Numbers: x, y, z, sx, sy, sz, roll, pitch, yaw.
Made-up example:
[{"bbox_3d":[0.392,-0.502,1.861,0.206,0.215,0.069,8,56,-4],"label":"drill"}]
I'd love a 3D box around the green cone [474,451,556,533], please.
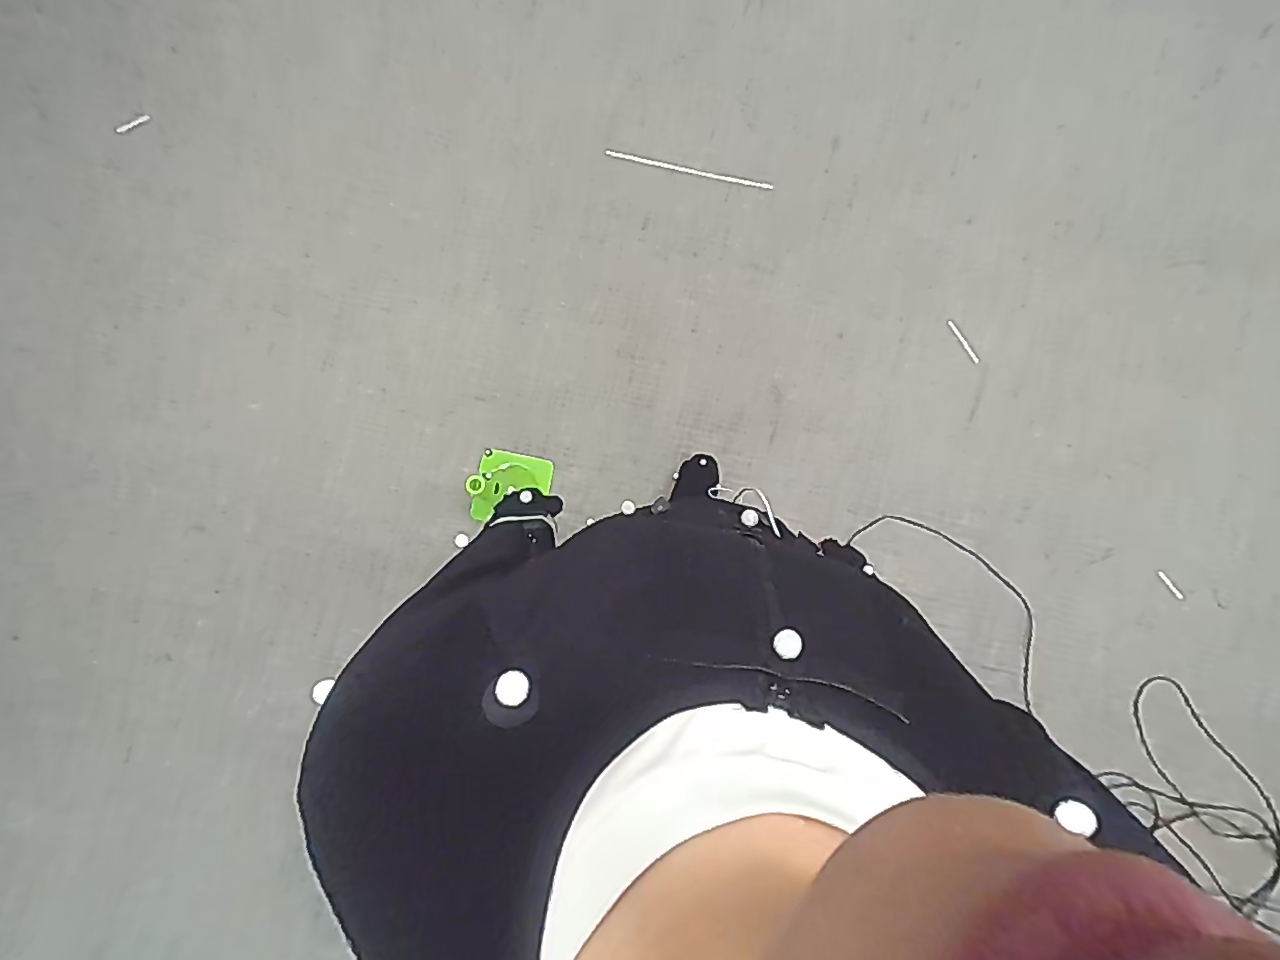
[{"bbox_3d":[-0.337,0.027,1.308,0.202,0.368,0.200,11,88,-1],"label":"green cone"}]
